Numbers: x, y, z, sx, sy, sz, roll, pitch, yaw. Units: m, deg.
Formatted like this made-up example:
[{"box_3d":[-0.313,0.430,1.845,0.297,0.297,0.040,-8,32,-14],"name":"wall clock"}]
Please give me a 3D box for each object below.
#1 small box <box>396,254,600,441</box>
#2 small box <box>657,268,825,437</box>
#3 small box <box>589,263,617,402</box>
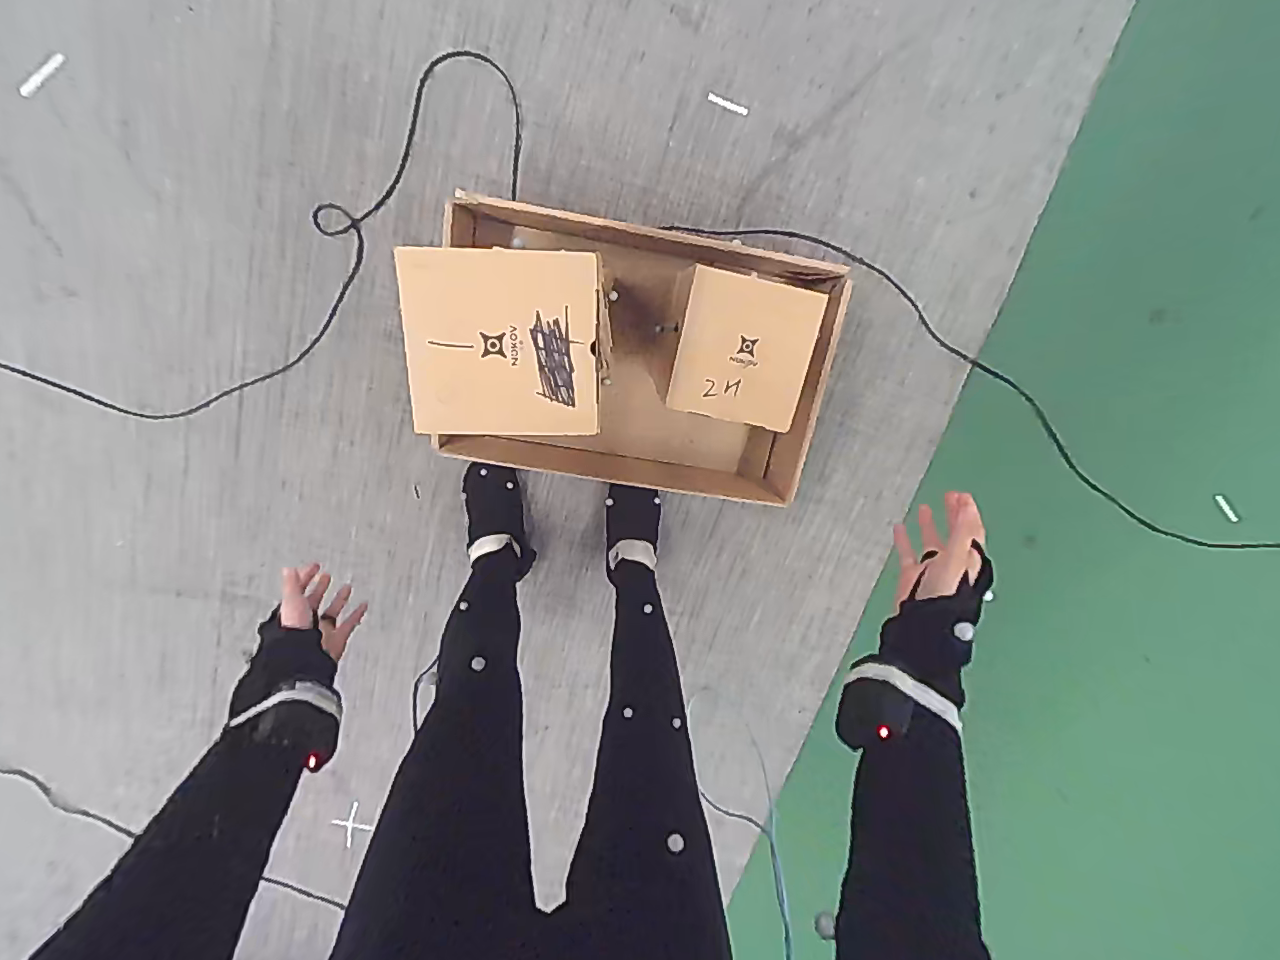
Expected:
[{"box_3d":[-0.131,-0.142,0.569,0.179,0.176,0.168,1,108,-3],"name":"small box"},{"box_3d":[0.122,-0.175,0.738,0.168,0.176,0.179,11,107,-5],"name":"small box"},{"box_3d":[-0.129,-0.194,0.724,0.179,0.176,0.168,-6,109,-1],"name":"small box"}]
